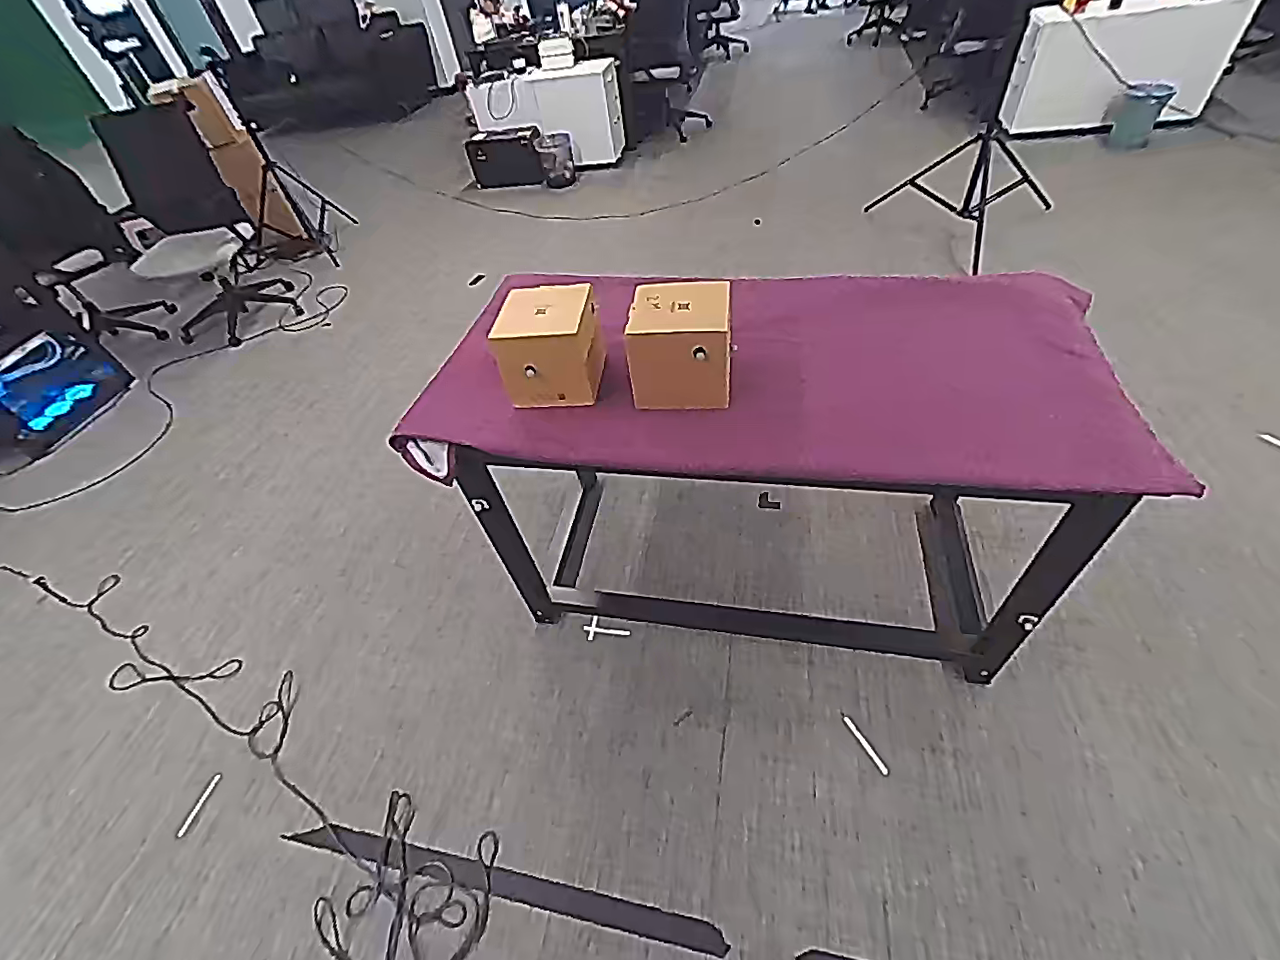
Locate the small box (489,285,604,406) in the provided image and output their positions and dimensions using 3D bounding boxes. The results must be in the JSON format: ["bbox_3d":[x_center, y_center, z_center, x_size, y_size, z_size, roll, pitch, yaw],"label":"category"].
[{"bbox_3d":[-0.172,-0.258,1.064,0.168,0.176,0.179,-2,47,9],"label":"small box"}]

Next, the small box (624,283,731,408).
[{"bbox_3d":[0.077,-0.246,1.006,0.179,0.176,0.168,1,47,10],"label":"small box"}]
